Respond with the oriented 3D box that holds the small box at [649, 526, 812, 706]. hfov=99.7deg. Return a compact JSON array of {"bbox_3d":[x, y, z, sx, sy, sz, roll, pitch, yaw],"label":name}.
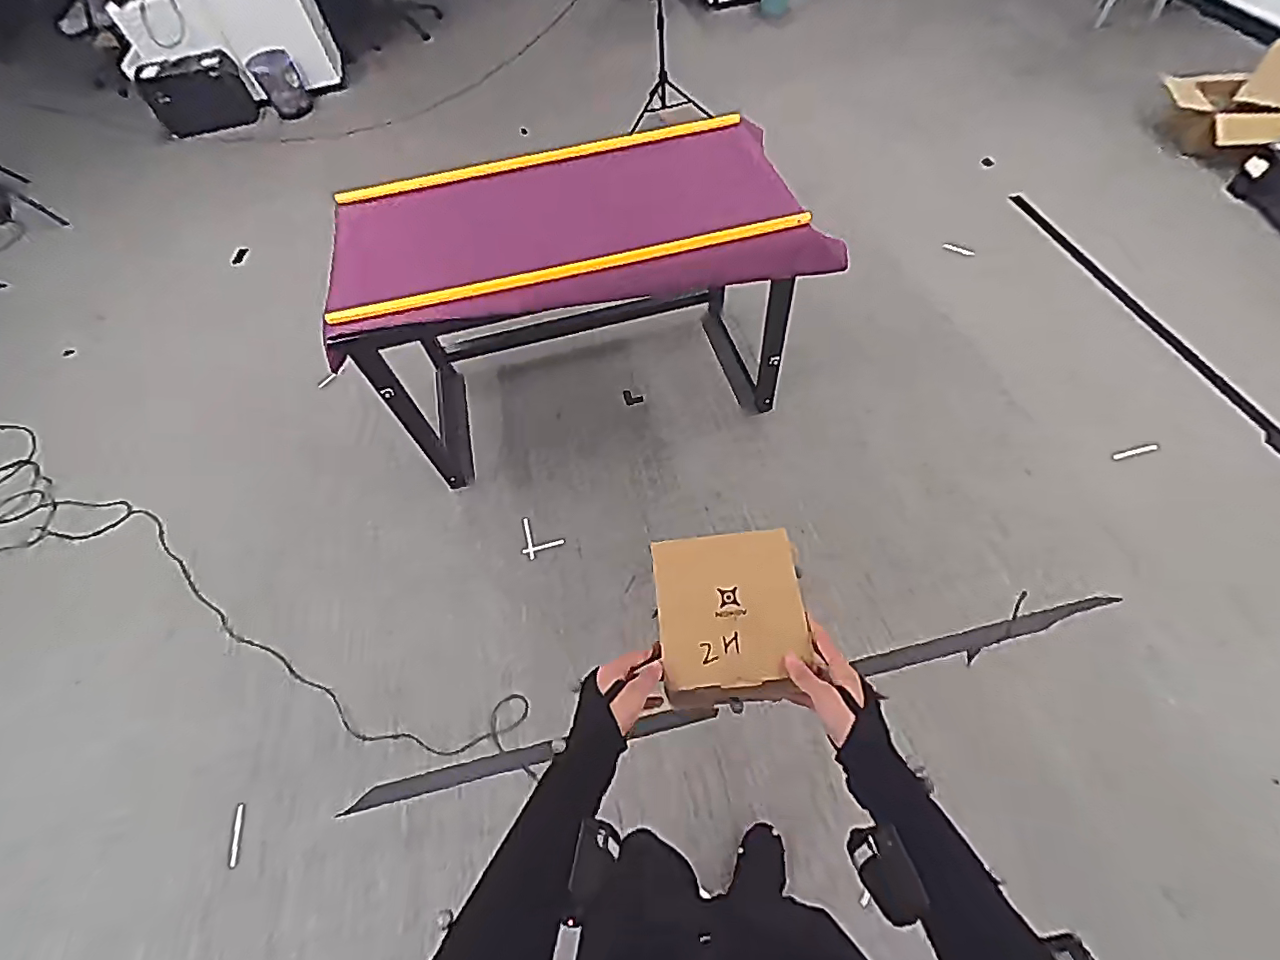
[{"bbox_3d":[0.105,0.178,0.687,0.168,0.176,0.179,-8,61,4],"label":"small box"}]
